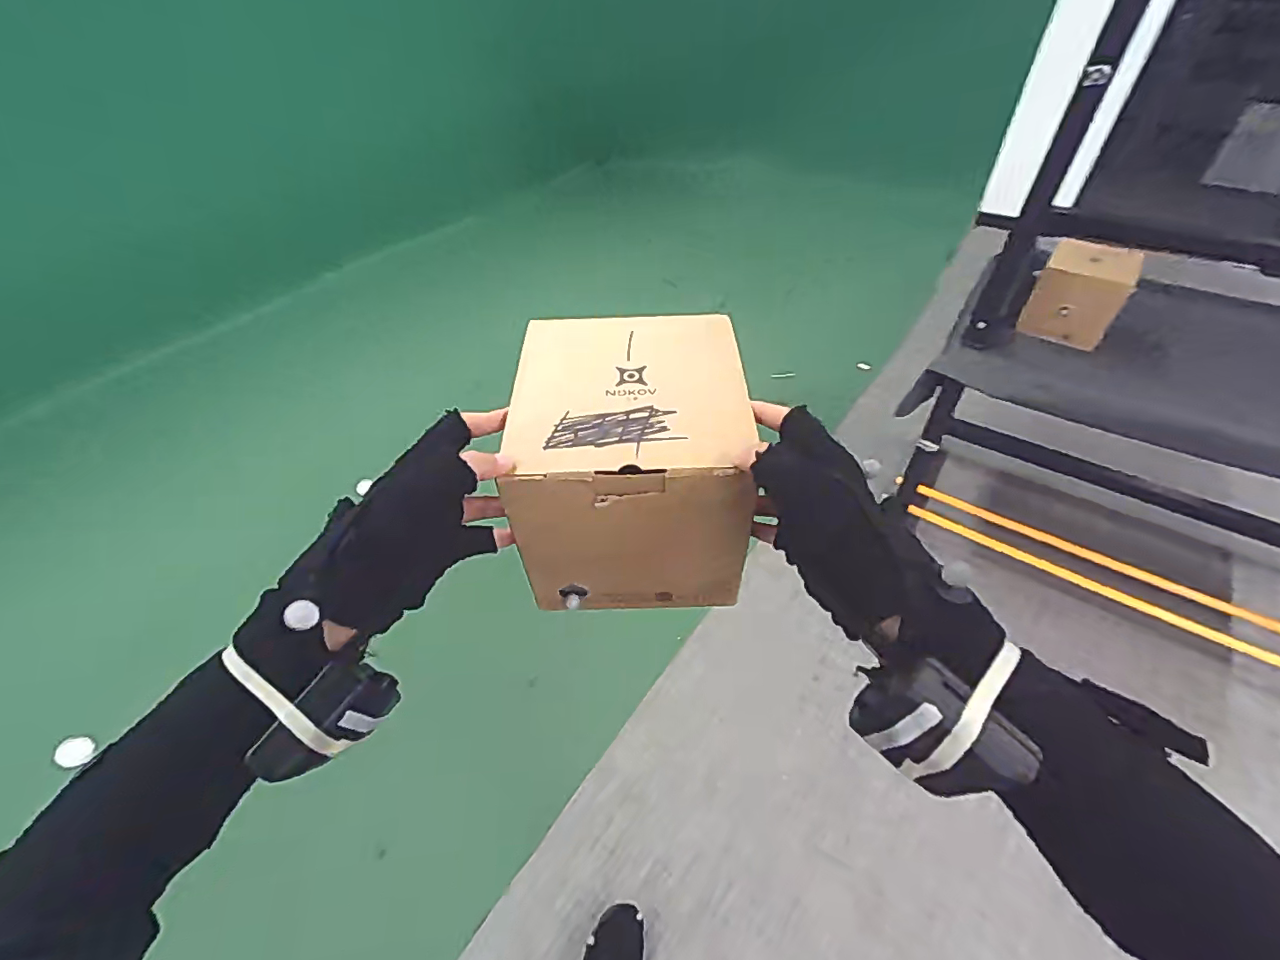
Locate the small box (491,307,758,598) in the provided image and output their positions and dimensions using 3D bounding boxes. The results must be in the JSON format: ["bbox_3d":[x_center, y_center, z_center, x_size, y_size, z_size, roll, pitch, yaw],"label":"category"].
[{"bbox_3d":[-0.006,-0.017,0.436,0.168,0.176,0.179,-1,48,1],"label":"small box"}]

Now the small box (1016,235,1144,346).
[{"bbox_3d":[1.010,-0.437,1.253,0.168,0.176,0.179,28,54,26],"label":"small box"}]
